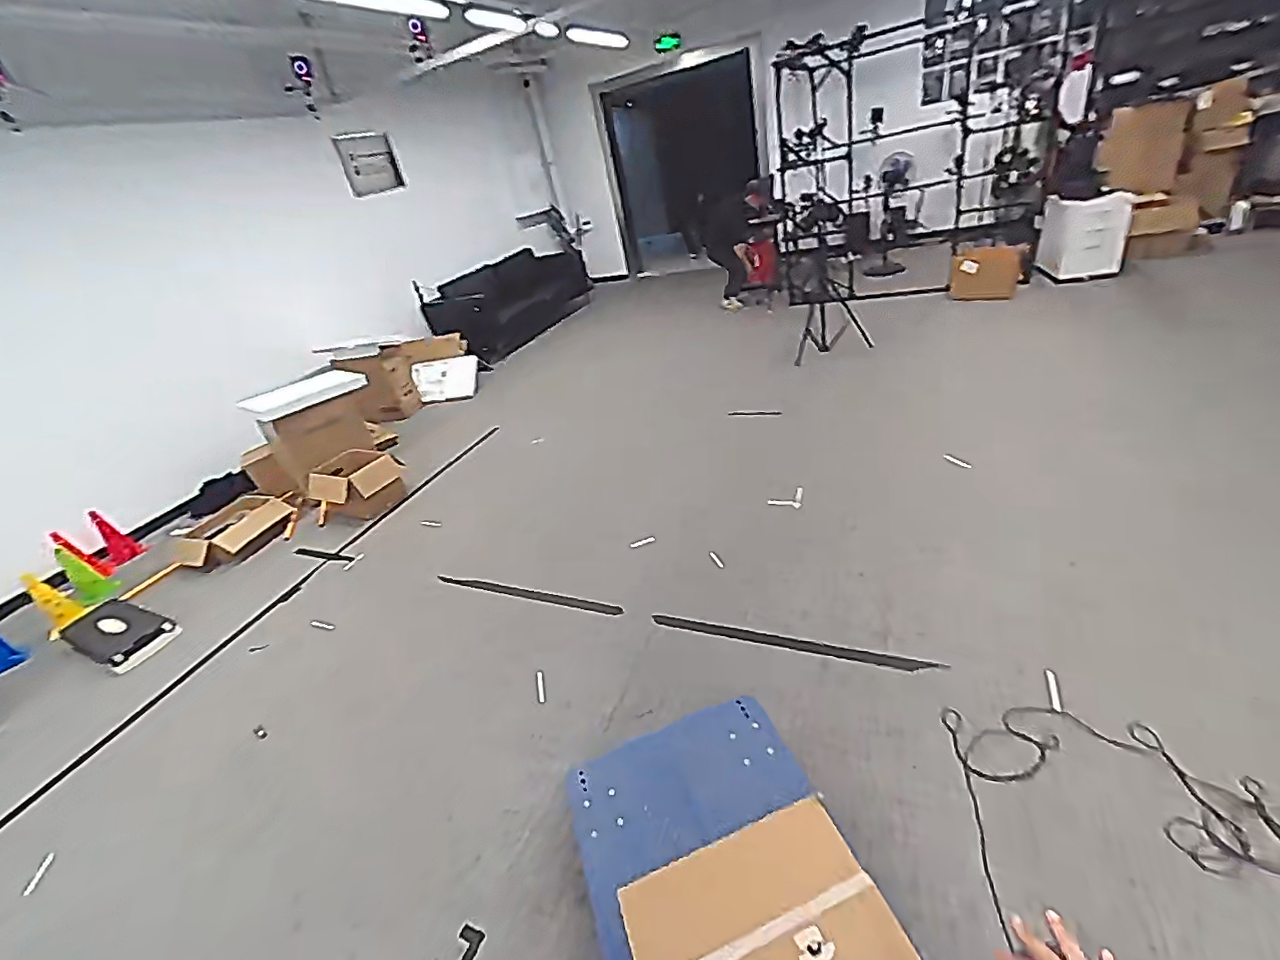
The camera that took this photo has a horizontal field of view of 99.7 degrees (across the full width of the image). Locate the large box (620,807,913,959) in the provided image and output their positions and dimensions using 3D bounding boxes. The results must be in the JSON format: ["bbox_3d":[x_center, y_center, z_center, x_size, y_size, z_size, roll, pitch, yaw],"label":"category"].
[{"bbox_3d":[0.220,0.867,0.922,0.408,0.320,0.320,-18,31,-11],"label":"large box"}]
